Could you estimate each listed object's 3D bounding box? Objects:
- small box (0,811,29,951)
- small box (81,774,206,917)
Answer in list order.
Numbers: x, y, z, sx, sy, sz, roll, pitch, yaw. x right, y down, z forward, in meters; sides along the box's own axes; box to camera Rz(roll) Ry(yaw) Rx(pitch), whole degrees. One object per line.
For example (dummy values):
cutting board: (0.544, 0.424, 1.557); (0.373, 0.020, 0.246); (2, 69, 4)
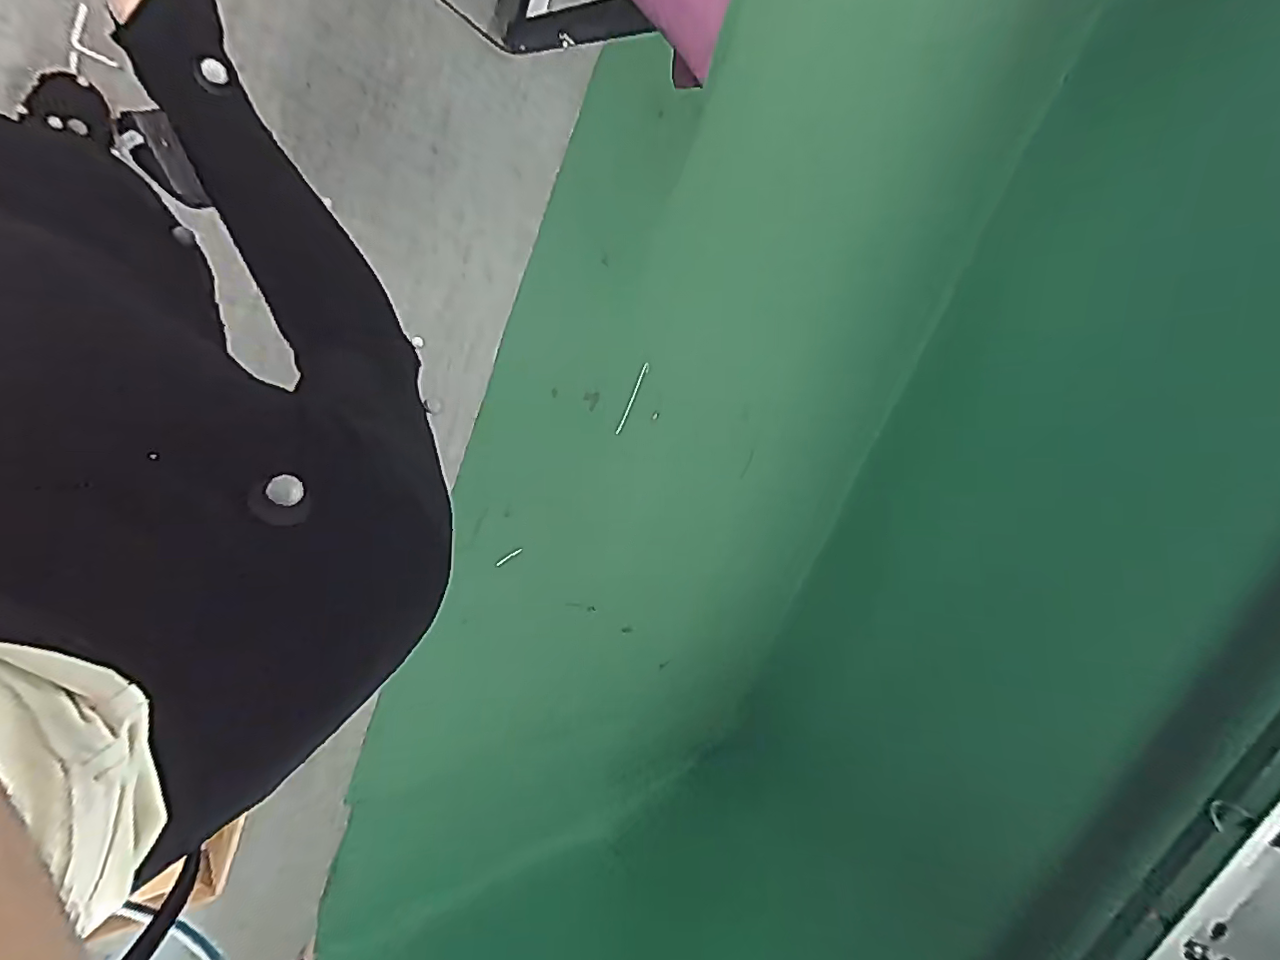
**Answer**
small box: (-1.260, 0.757, 0.988); (0.168, 0.176, 0.179); (12, 106, -47)
small box: (-1.082, 0.782, 1.181); (0.179, 0.176, 0.168); (10, 108, -46)
